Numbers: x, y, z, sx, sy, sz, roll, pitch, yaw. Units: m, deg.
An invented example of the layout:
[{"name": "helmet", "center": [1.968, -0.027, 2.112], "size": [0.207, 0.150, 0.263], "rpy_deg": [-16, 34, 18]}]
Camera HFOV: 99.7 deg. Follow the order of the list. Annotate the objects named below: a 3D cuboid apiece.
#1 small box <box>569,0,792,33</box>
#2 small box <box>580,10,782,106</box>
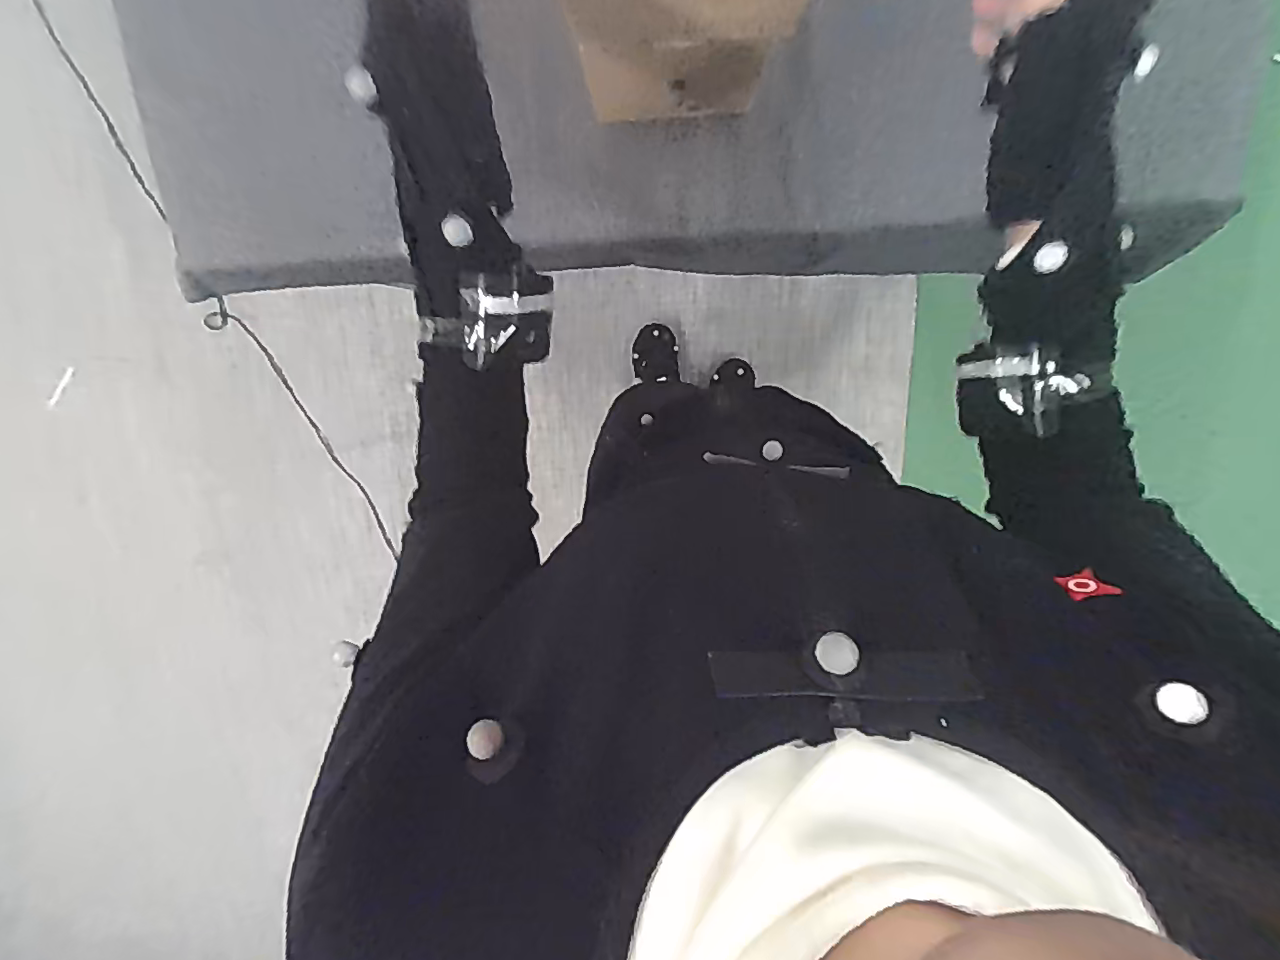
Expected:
[{"name": "small box", "center": [0.031, -0.412, 0.330], "size": [0.179, 0.176, 0.168], "rpy_deg": [1, 105, 4]}, {"name": "small box", "center": [0.034, -0.464, 0.487], "size": [0.168, 0.176, 0.179], "rpy_deg": [-3, 106, 4]}]
